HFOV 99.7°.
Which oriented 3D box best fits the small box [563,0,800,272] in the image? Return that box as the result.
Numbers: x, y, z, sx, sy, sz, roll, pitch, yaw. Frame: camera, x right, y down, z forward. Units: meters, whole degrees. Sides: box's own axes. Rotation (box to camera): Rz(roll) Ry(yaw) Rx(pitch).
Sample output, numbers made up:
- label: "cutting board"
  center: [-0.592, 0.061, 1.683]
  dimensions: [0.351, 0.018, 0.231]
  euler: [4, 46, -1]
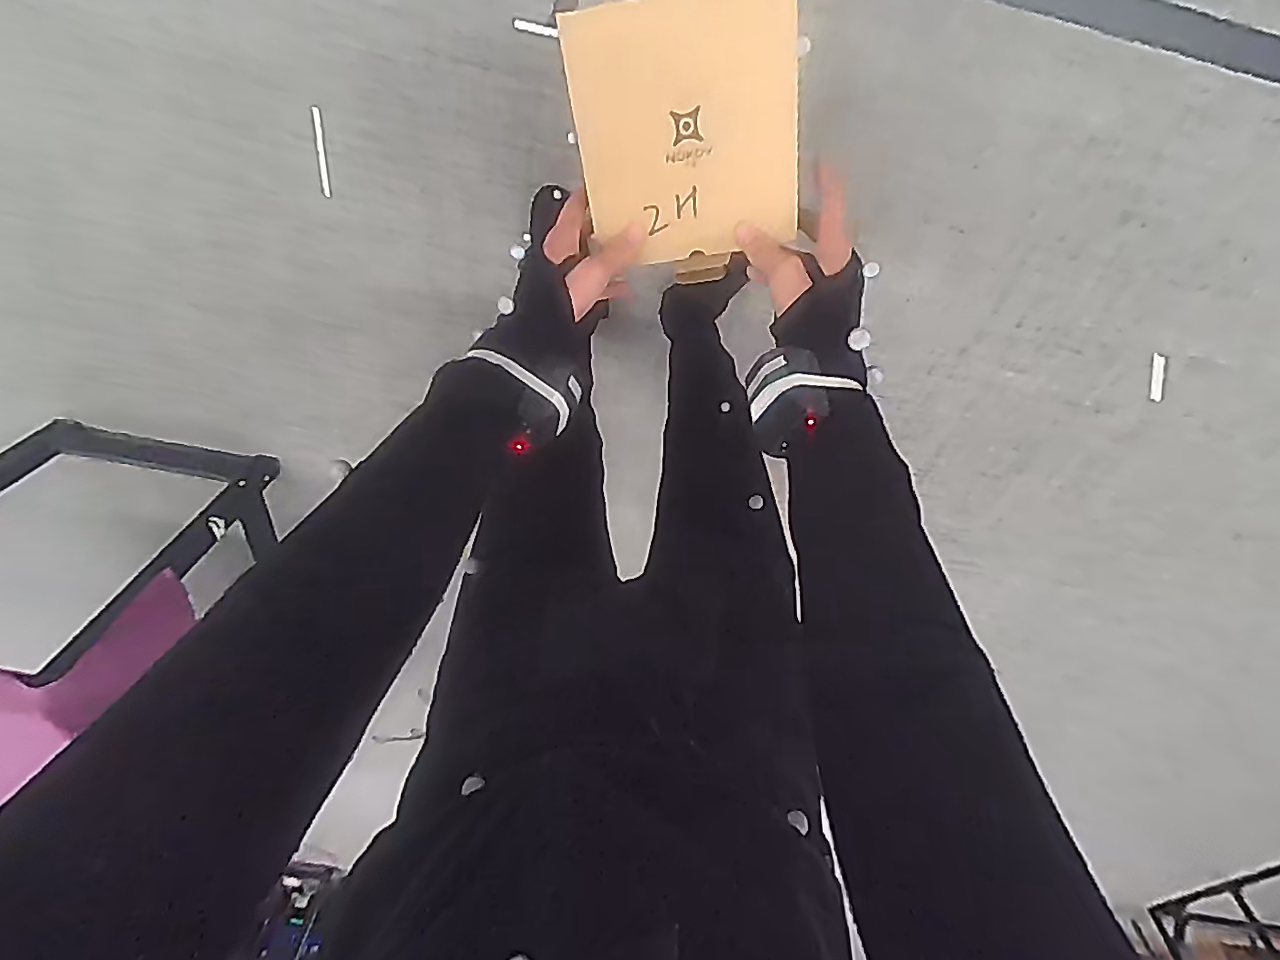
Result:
- label: "small box"
  center: [0.041, -0.307, 0.477]
  dimensions: [0.168, 0.176, 0.179]
  euler: [-5, 129, 9]
